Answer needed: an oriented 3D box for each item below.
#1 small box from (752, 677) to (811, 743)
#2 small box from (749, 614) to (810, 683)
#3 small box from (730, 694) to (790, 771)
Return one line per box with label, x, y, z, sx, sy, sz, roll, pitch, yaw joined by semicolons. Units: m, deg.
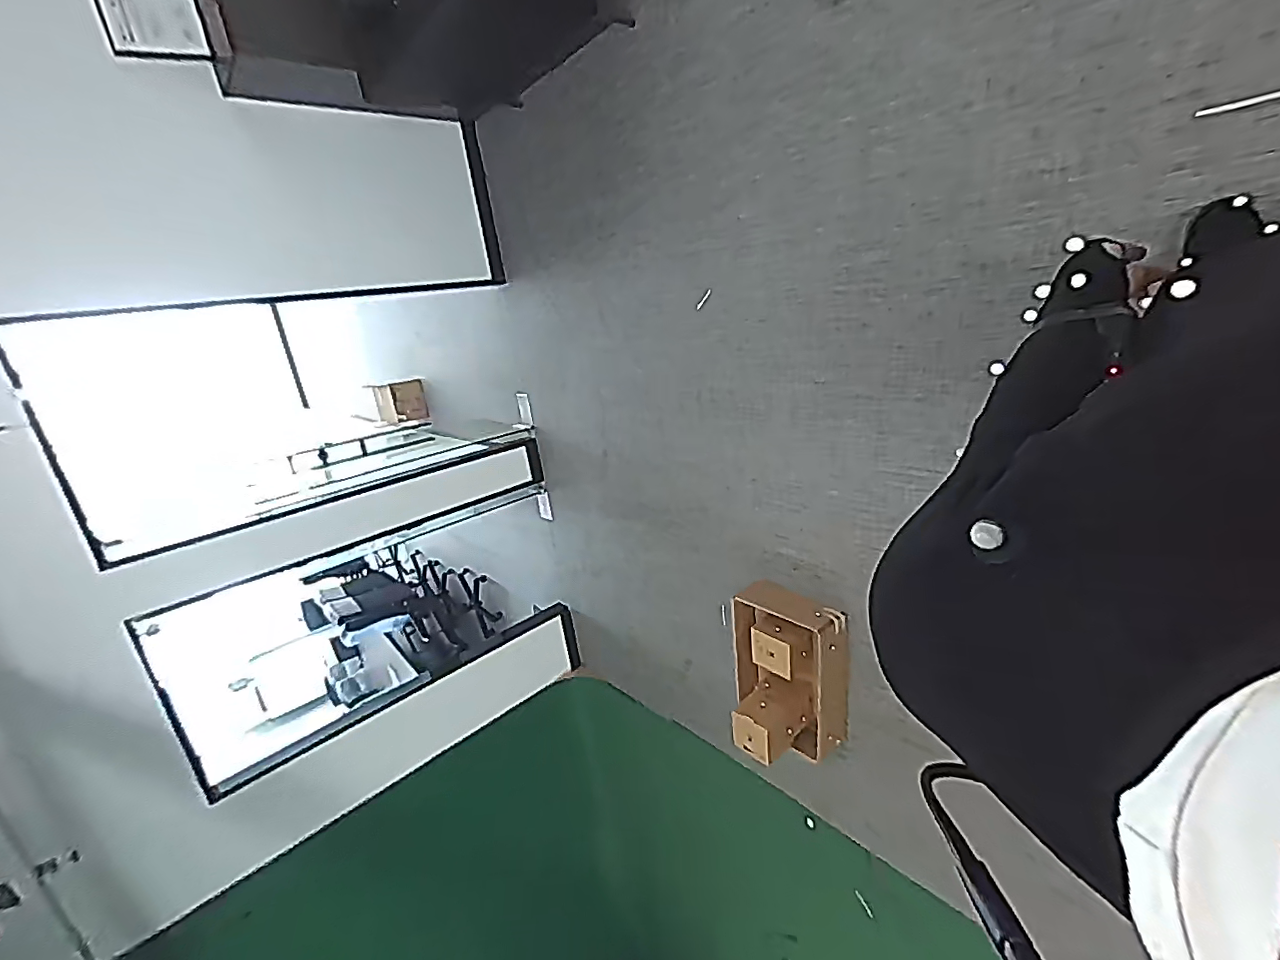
small box;0.578;0.919;2.195;0.179;0.176;0.168;14;116;47
small box;0.546;0.649;2.106;0.179;0.176;0.168;16;119;46
small box;0.465;0.963;2.084;0.168;0.176;0.179;14;116;47
